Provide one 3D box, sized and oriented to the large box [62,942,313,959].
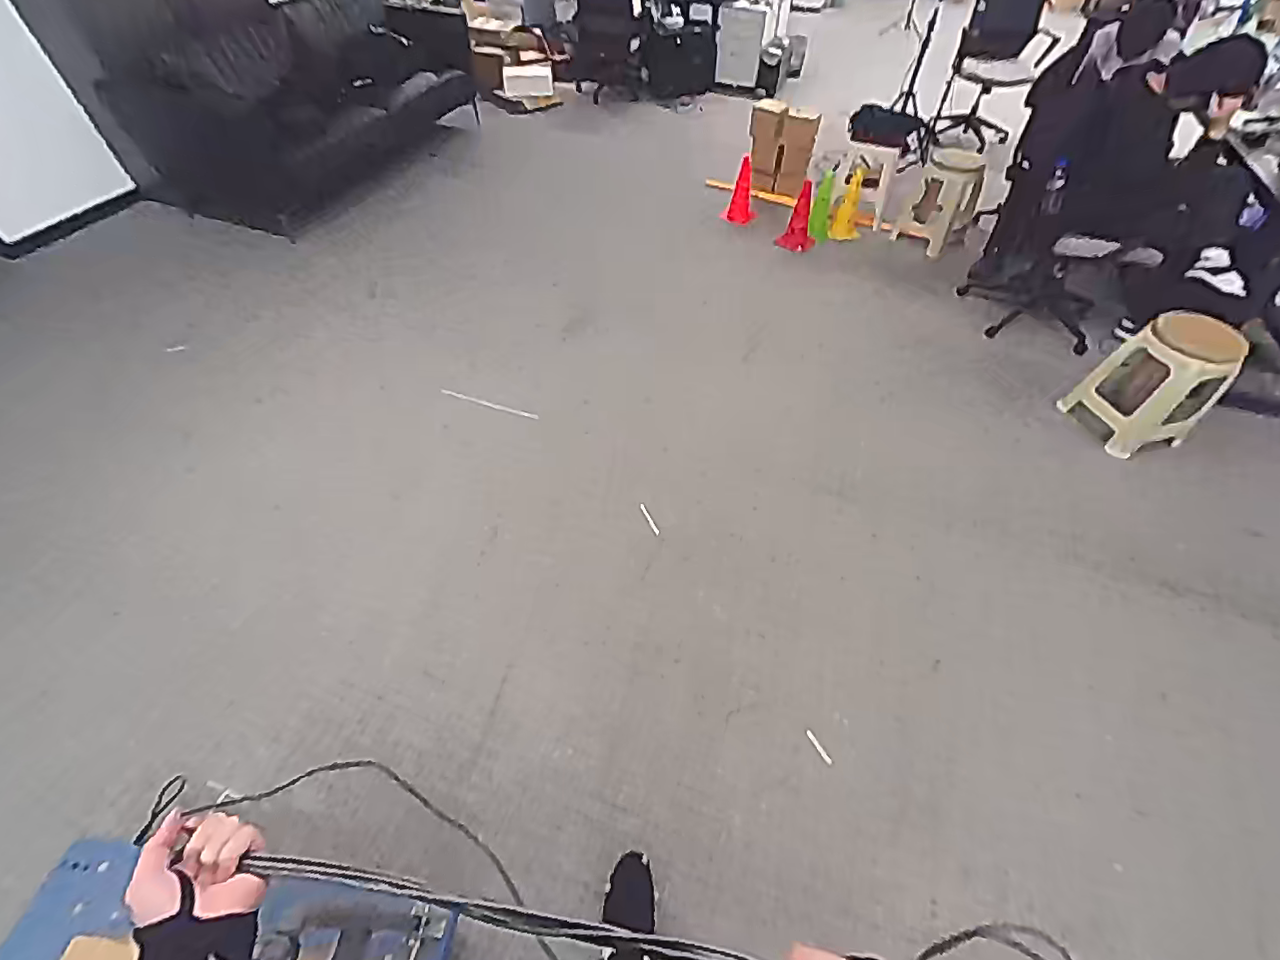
[{"bbox_3d":[-0.706,0.953,0.846,0.408,0.320,0.320,5,50,4],"label":"large box"}]
